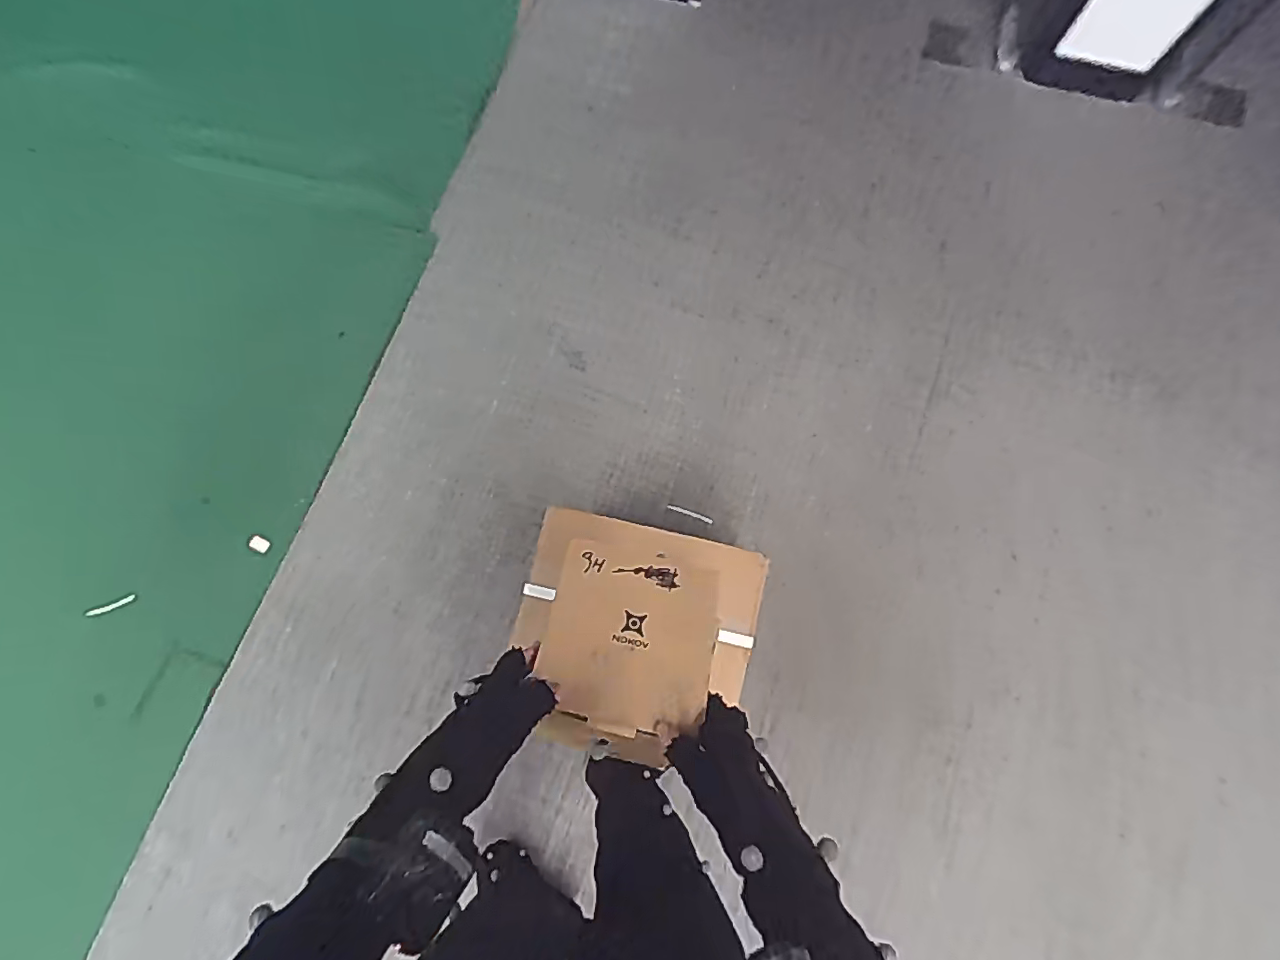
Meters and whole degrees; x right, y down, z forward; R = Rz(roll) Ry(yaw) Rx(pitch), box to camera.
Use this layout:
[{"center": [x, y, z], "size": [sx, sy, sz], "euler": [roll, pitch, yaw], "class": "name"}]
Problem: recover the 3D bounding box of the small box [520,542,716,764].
[{"center": [-0.025, 0.198, 0.599], "size": [0.168, 0.176, 0.179], "euler": [14, 55, -1], "class": "small box"}]
